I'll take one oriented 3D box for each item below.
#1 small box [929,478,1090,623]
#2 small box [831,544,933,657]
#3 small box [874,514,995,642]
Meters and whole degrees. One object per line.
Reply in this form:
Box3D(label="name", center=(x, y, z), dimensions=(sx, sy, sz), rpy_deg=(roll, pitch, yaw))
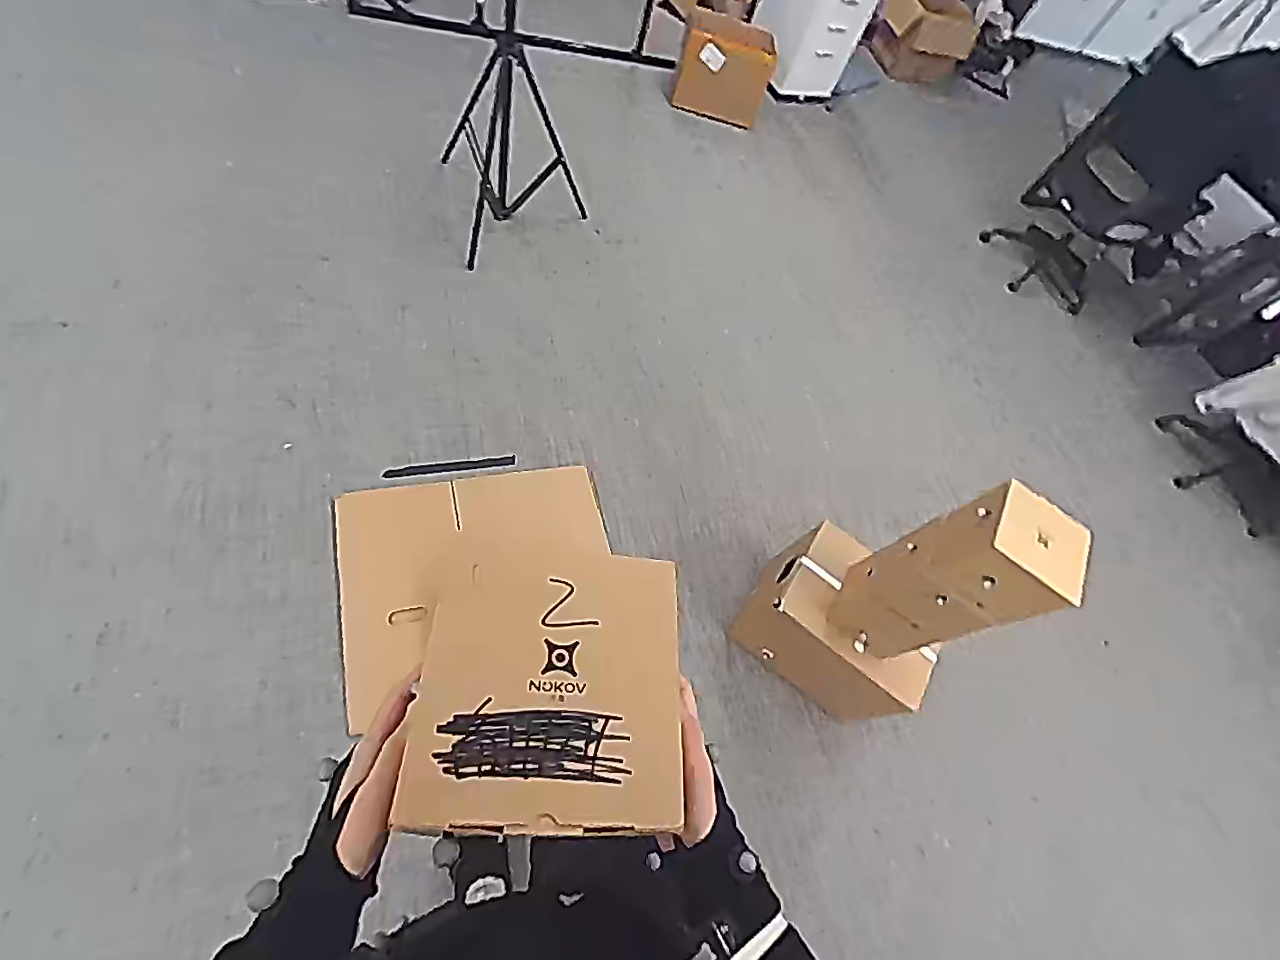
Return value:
Box3D(label="small box", center=(0.669, 0.136, 0.994), dimensions=(0.168, 0.176, 0.179), rpy_deg=(37, 58, 5))
Box3D(label="small box", center=(0.581, 0.288, 1.270), dimensions=(0.168, 0.176, 0.179), rpy_deg=(37, 59, 5))
Box3D(label="small box", center=(0.625, 0.209, 1.134), dimensions=(0.168, 0.176, 0.179), rpy_deg=(37, 57, 5))
